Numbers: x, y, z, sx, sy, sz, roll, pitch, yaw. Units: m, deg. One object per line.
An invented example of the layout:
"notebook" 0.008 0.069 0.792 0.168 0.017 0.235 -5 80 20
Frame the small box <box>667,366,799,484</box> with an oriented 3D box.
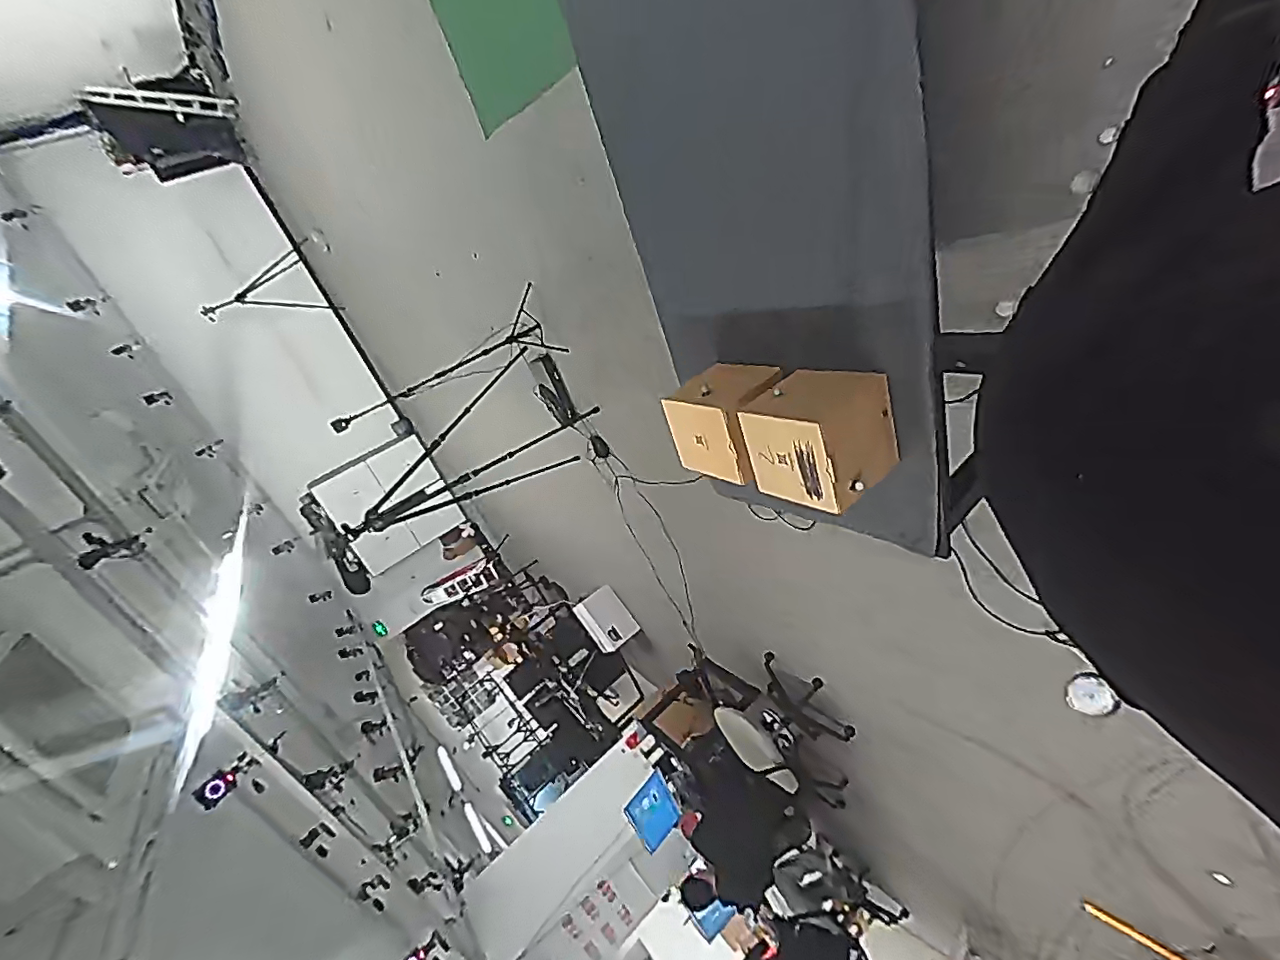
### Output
"small box" 0.188 -0.119 1.084 0.179 0.176 0.168 19 138 51
